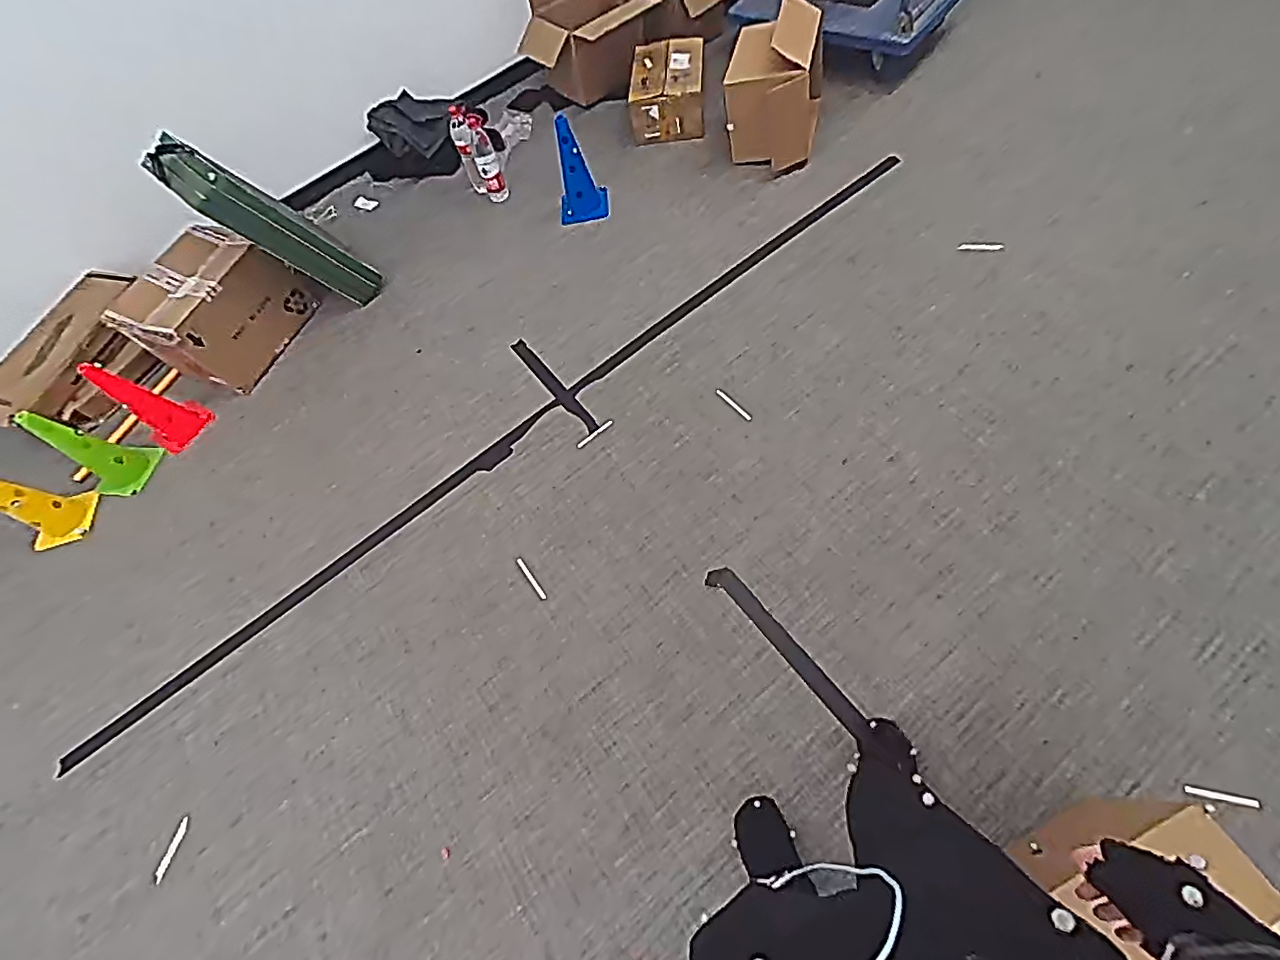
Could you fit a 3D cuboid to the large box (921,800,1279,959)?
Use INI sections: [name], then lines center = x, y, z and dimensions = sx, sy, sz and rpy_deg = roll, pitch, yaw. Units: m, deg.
[large box]
center = 0.759, 0.776, 0.874
dimensions = 0.408, 0.320, 0.320
rpy_deg = -26, 61, -5
